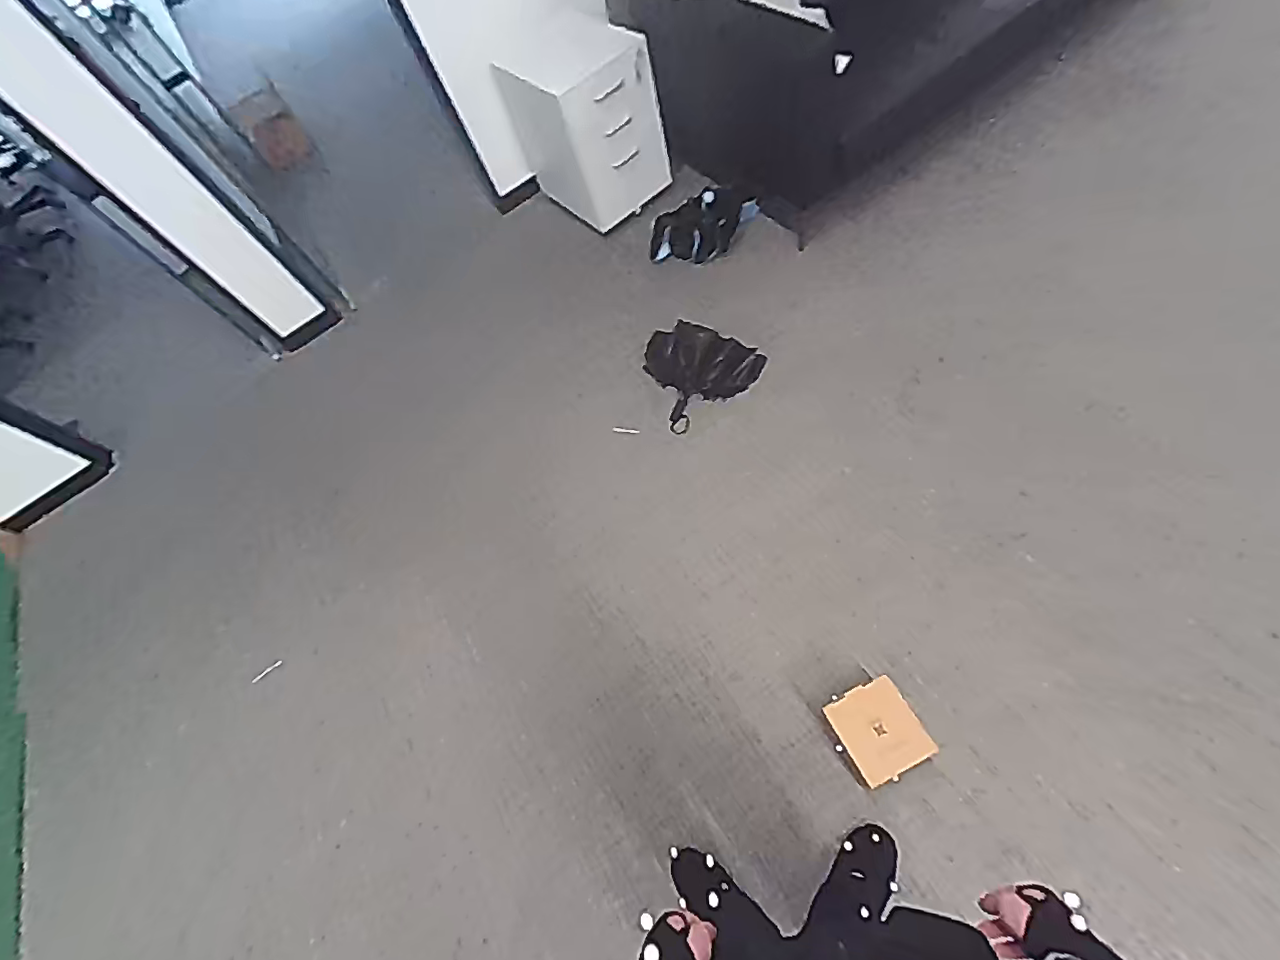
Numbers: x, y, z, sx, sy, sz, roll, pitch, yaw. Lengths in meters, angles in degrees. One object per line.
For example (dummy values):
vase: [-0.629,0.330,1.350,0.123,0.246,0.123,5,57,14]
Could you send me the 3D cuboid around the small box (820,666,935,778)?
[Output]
small box: [0.528,0.554,1.234,0.168,0.176,0.179,-29,60,1]
